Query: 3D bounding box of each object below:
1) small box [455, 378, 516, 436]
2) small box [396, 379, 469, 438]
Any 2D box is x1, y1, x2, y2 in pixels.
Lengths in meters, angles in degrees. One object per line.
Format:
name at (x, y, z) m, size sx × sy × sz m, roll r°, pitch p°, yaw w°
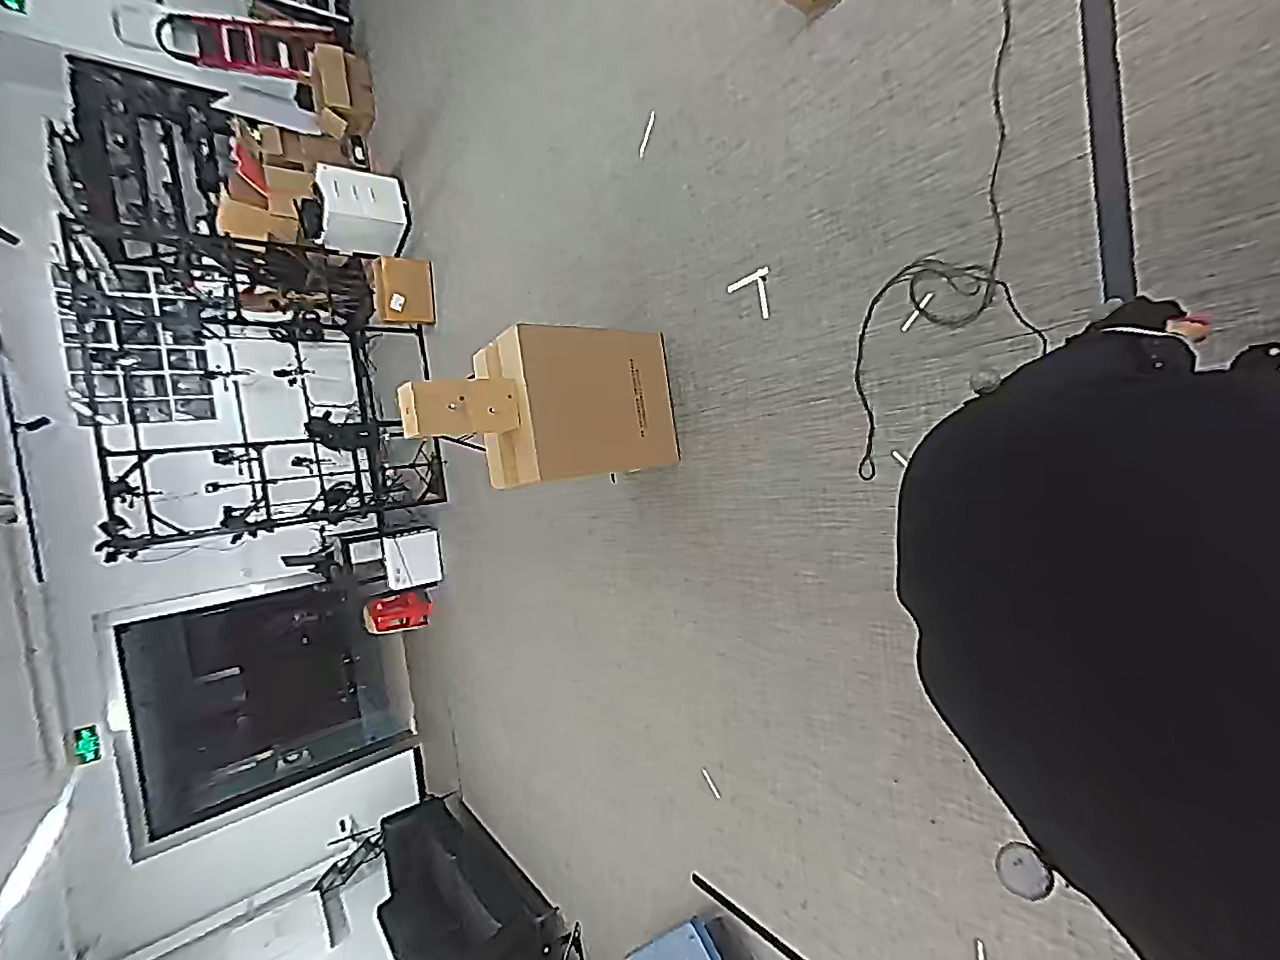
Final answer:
small box at (-0.527, -0.246, 1.816) m, size 0.179 × 0.176 × 0.168 m, roll -4°, pitch 94°, yaw 53°
small box at (-0.662, -0.226, 1.723) m, size 0.179 × 0.176 × 0.168 m, roll -1°, pitch 98°, yaw 53°
